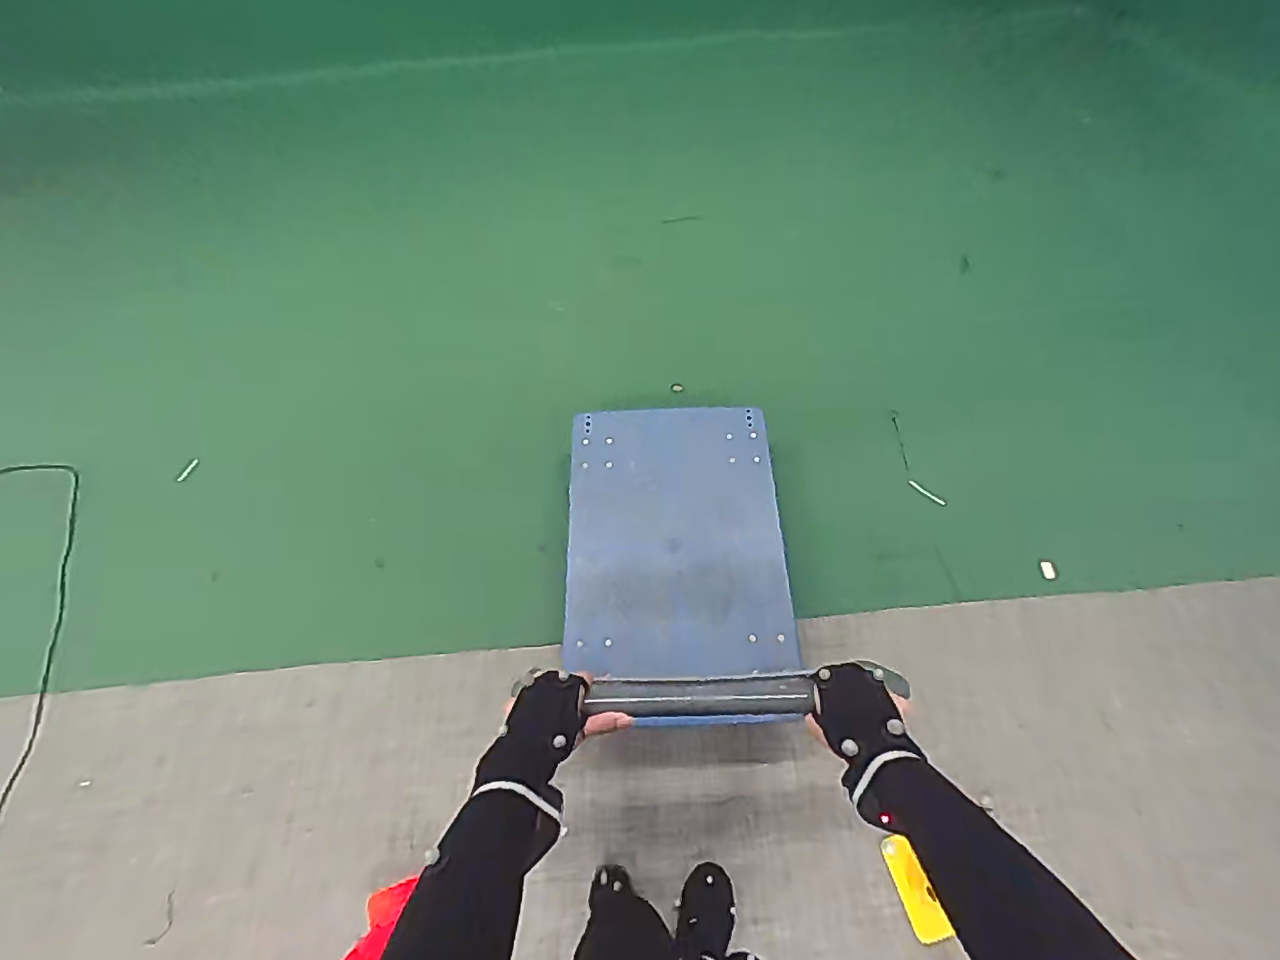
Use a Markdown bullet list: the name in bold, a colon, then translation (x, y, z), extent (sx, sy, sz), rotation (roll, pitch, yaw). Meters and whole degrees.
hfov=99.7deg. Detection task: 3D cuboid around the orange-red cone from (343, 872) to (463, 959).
- **orange-red cone**: translation (-0.513, 0.940, 1.059), extent (0.199, 0.360, 0.198), rotation (-19, 63, -6)
